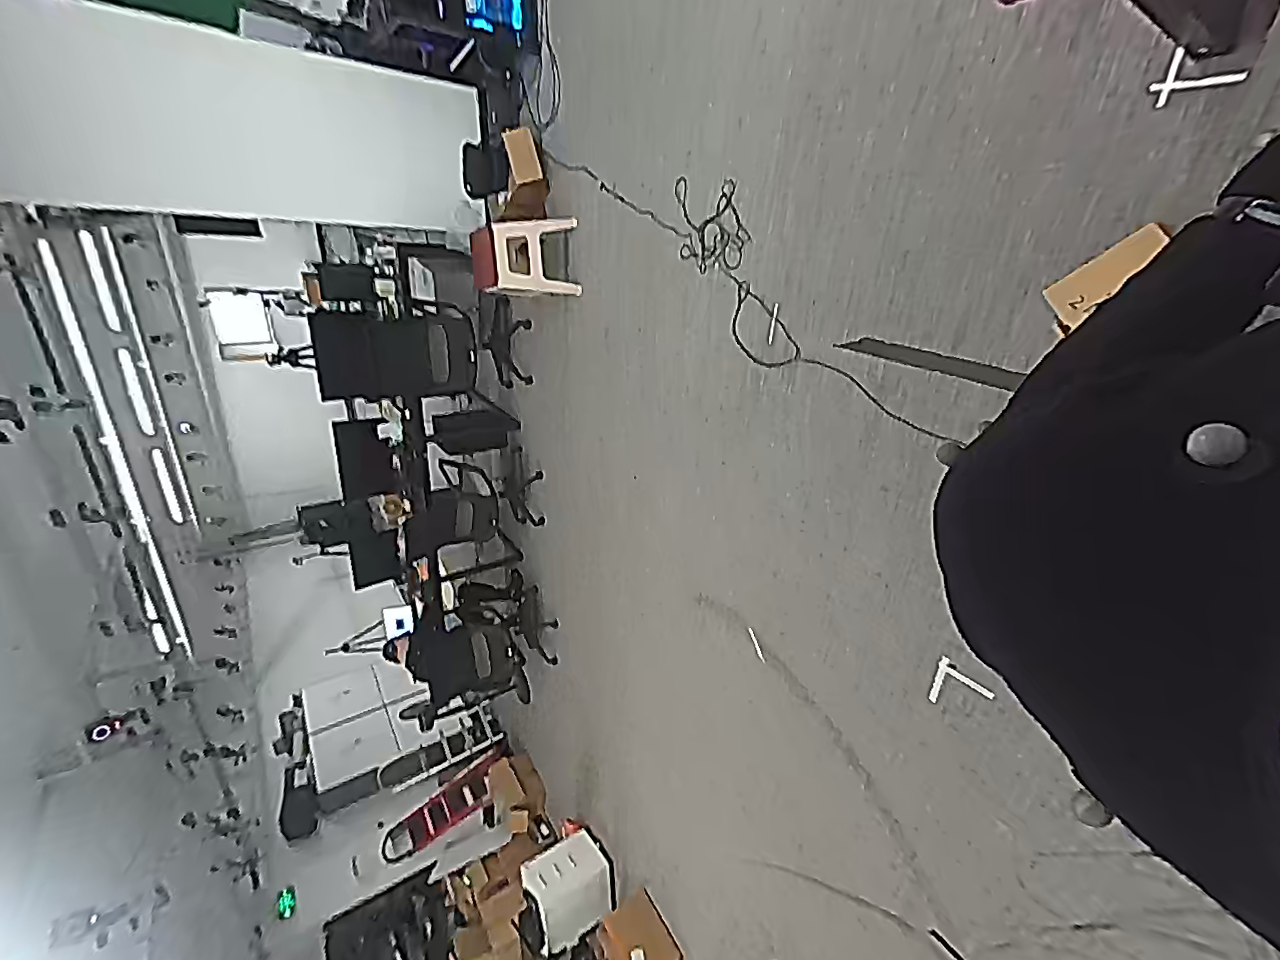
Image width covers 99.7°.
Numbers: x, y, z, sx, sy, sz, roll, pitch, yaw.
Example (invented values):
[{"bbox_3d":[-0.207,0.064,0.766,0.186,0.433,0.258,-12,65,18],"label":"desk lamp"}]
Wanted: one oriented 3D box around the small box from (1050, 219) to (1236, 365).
[{"bbox_3d":[0.878,-0.321,0.943,0.179,0.176,0.168,-41,66,53],"label":"small box"}]
